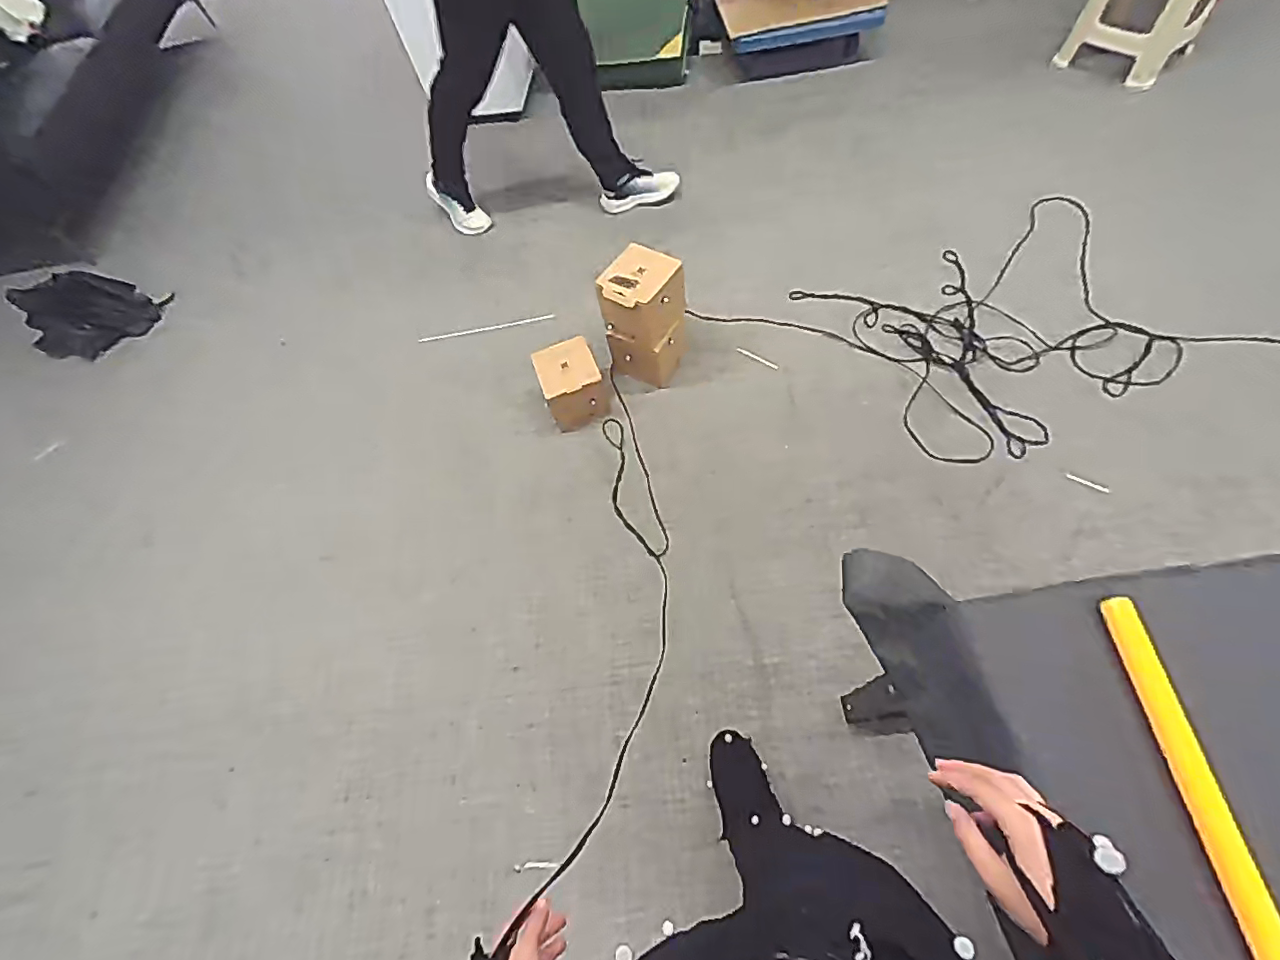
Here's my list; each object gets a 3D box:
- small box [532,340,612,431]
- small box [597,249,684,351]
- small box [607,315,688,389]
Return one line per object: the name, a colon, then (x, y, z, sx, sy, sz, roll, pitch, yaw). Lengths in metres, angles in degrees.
small box: (-0.193, -0.266, 1.577, 0.168, 0.176, 0.179, -22, 61, -4)
small box: (0.010, -0.484, 1.469, 0.168, 0.176, 0.179, 30, 70, 21)
small box: (0.029, -0.398, 1.609, 0.179, 0.176, 0.168, 24, 68, 19)
